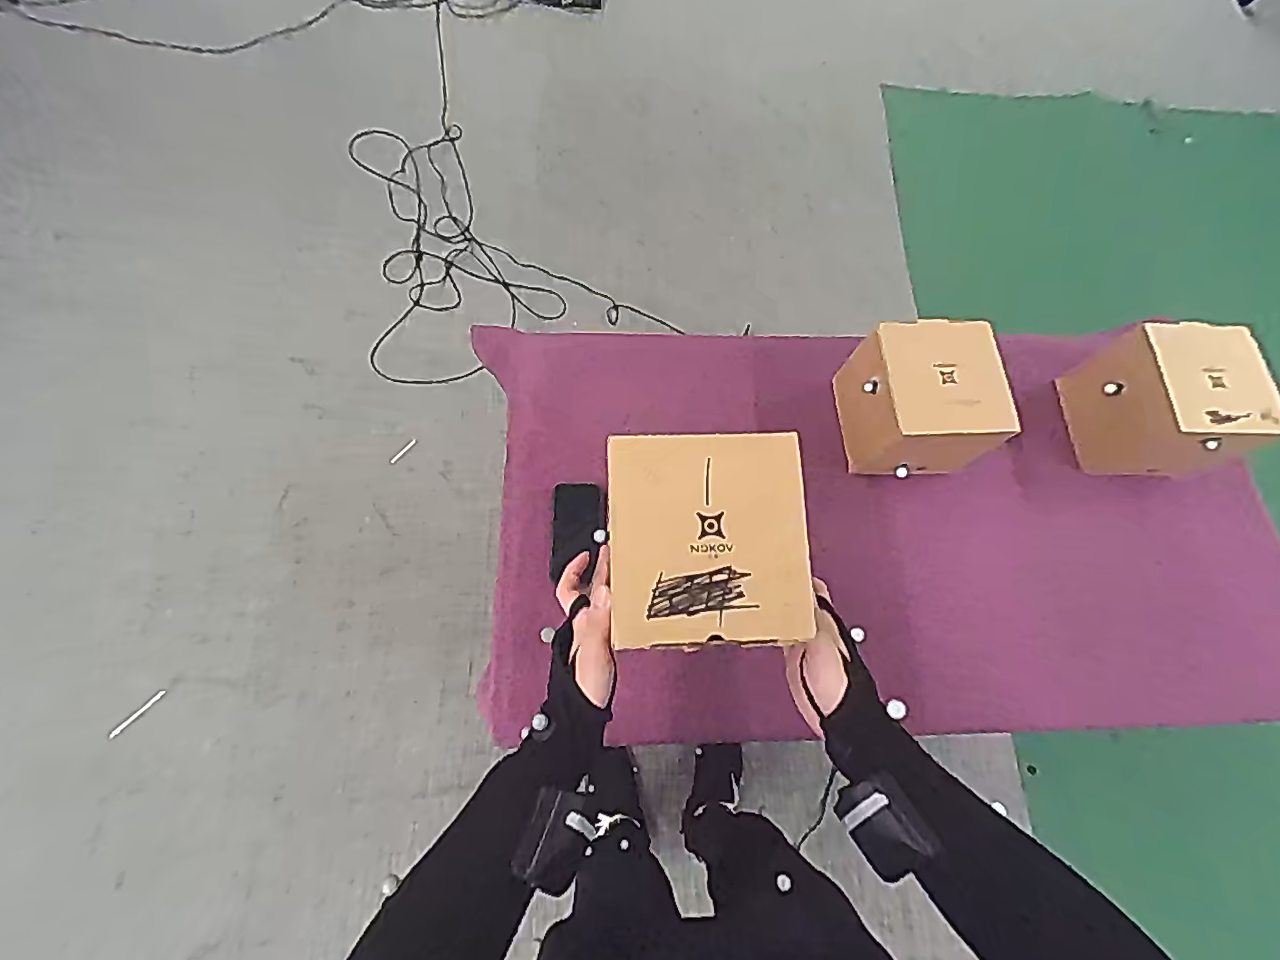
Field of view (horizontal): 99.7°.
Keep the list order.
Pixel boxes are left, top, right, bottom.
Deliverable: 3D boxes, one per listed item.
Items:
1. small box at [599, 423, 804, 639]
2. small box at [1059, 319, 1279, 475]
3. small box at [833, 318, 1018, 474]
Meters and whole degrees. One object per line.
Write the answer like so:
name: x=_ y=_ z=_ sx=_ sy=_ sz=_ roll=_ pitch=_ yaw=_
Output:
small box: x=0.046 y=0.052 z=0.519 sx=0.168 sy=0.176 sz=0.179 roll=-1 pitch=79 yaw=-3
small box: x=0.793 y=-0.120 z=0.825 sx=0.168 sy=0.176 sz=0.179 roll=0 pitch=70 yaw=-2
small box: x=0.404 y=-0.118 z=0.802 sx=0.168 sy=0.176 sz=0.179 roll=-1 pitch=71 yaw=-3
